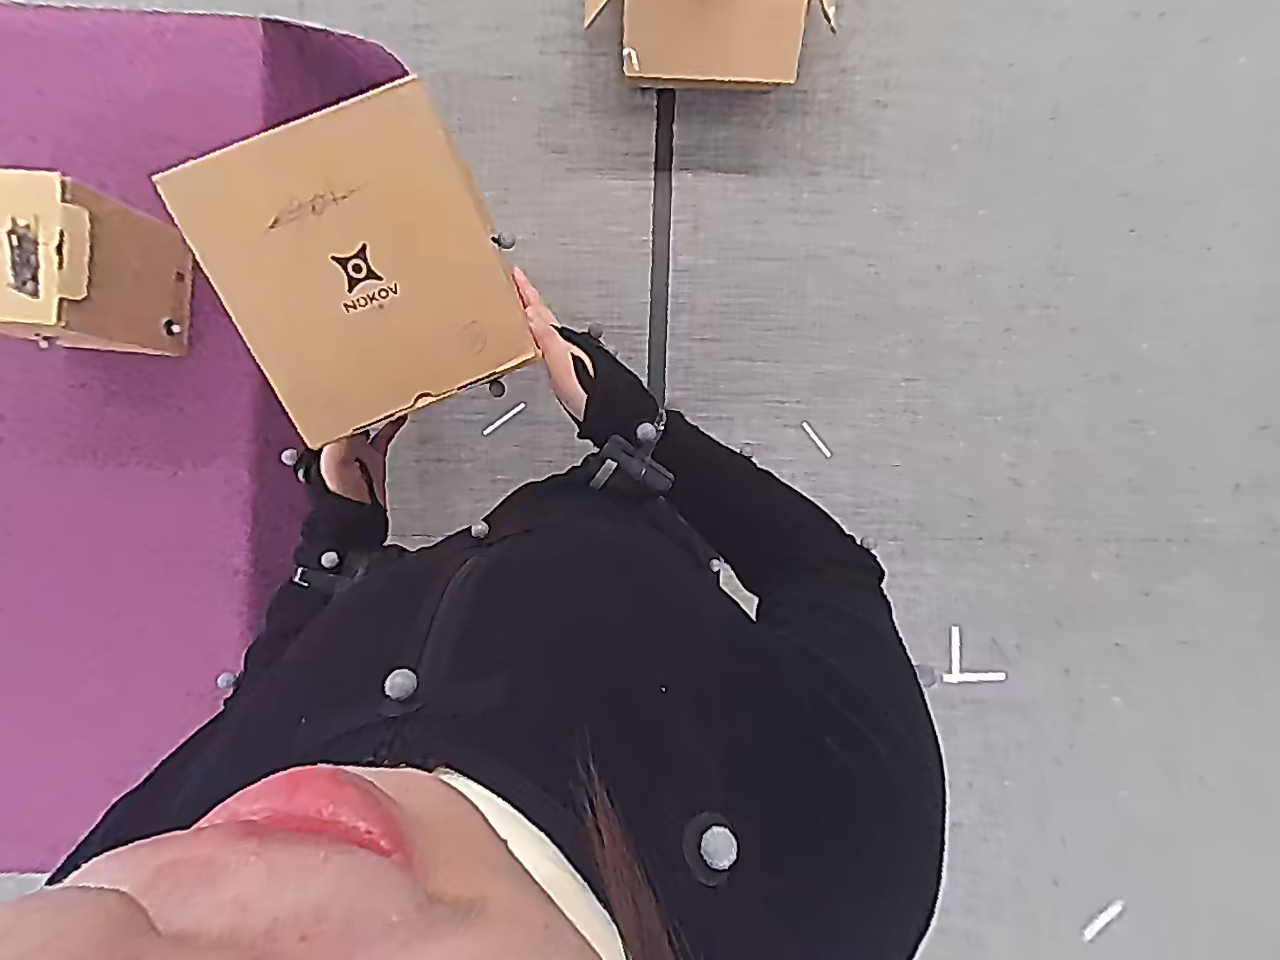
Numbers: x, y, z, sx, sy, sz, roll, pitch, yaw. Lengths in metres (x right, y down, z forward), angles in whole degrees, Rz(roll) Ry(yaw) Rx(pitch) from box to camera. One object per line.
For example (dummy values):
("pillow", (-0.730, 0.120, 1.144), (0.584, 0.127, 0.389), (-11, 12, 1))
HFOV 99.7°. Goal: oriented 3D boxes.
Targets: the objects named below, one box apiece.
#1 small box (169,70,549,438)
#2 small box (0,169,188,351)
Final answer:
("small box", (-0.175, -0.153, 0.411), (0.168, 0.176, 0.179), (-22, 106, -2))
("small box", (-0.707, -0.259, 0.665), (0.179, 0.176, 0.168), (5, 92, 1))
